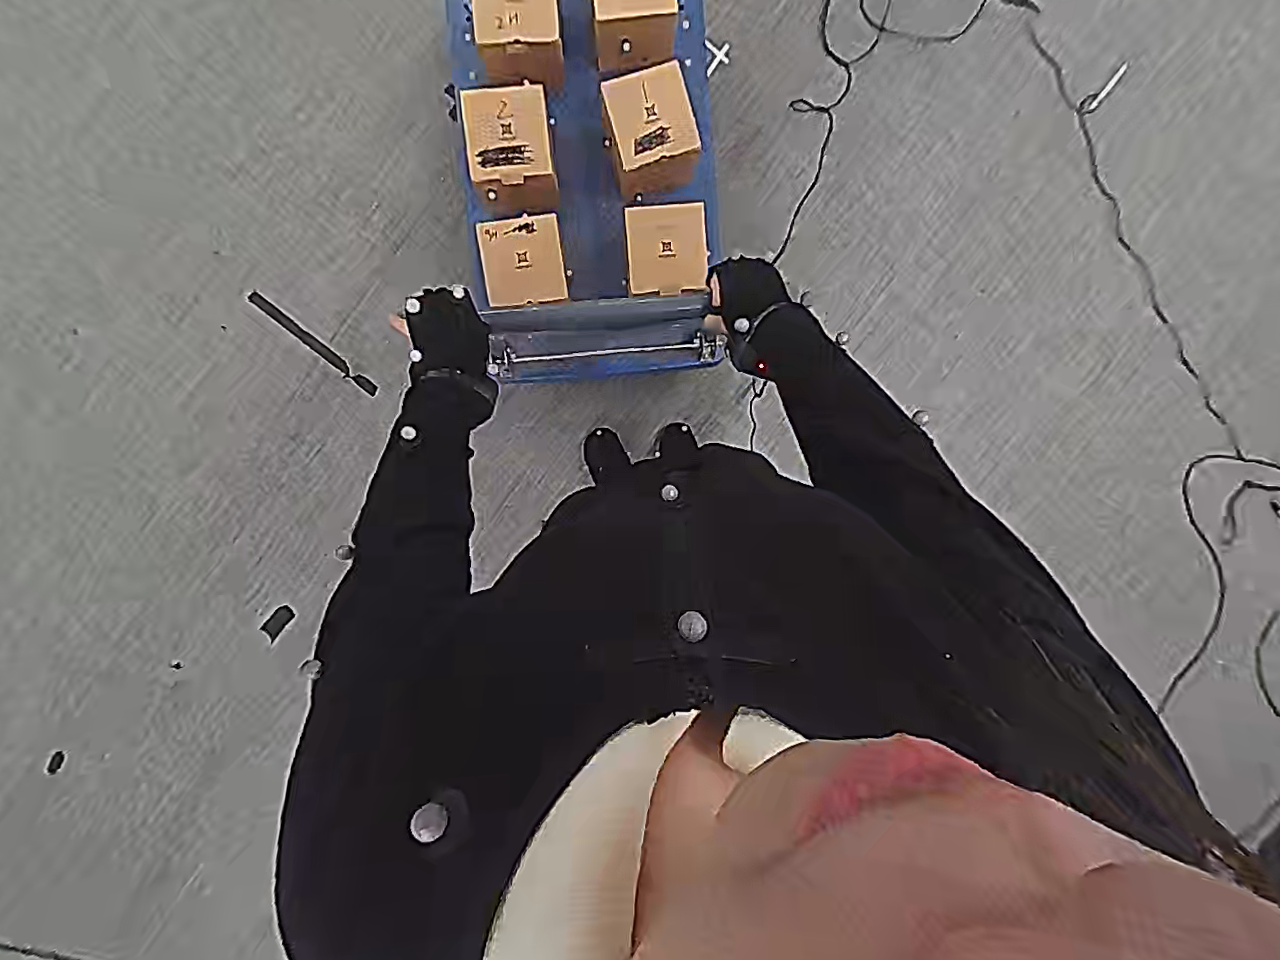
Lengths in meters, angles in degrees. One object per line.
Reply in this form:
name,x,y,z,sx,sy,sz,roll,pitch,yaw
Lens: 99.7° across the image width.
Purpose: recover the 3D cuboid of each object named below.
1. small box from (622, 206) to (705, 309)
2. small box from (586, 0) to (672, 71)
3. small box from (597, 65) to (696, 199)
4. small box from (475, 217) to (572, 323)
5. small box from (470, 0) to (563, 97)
small box,0.049,-0.483,1.199,0.168,0.176,0.179,-5,95,-3
small box,-0.027,-1.005,1.143,0.168,0.176,0.179,-8,96,-2
small box,0.013,-0.737,1.171,0.168,0.176,0.179,-17,95,-1
small box,-0.247,-0.450,1.187,0.168,0.176,0.179,-9,97,-3
small box,-0.255,-0.946,1.135,0.168,0.176,0.179,-4,97,-2
